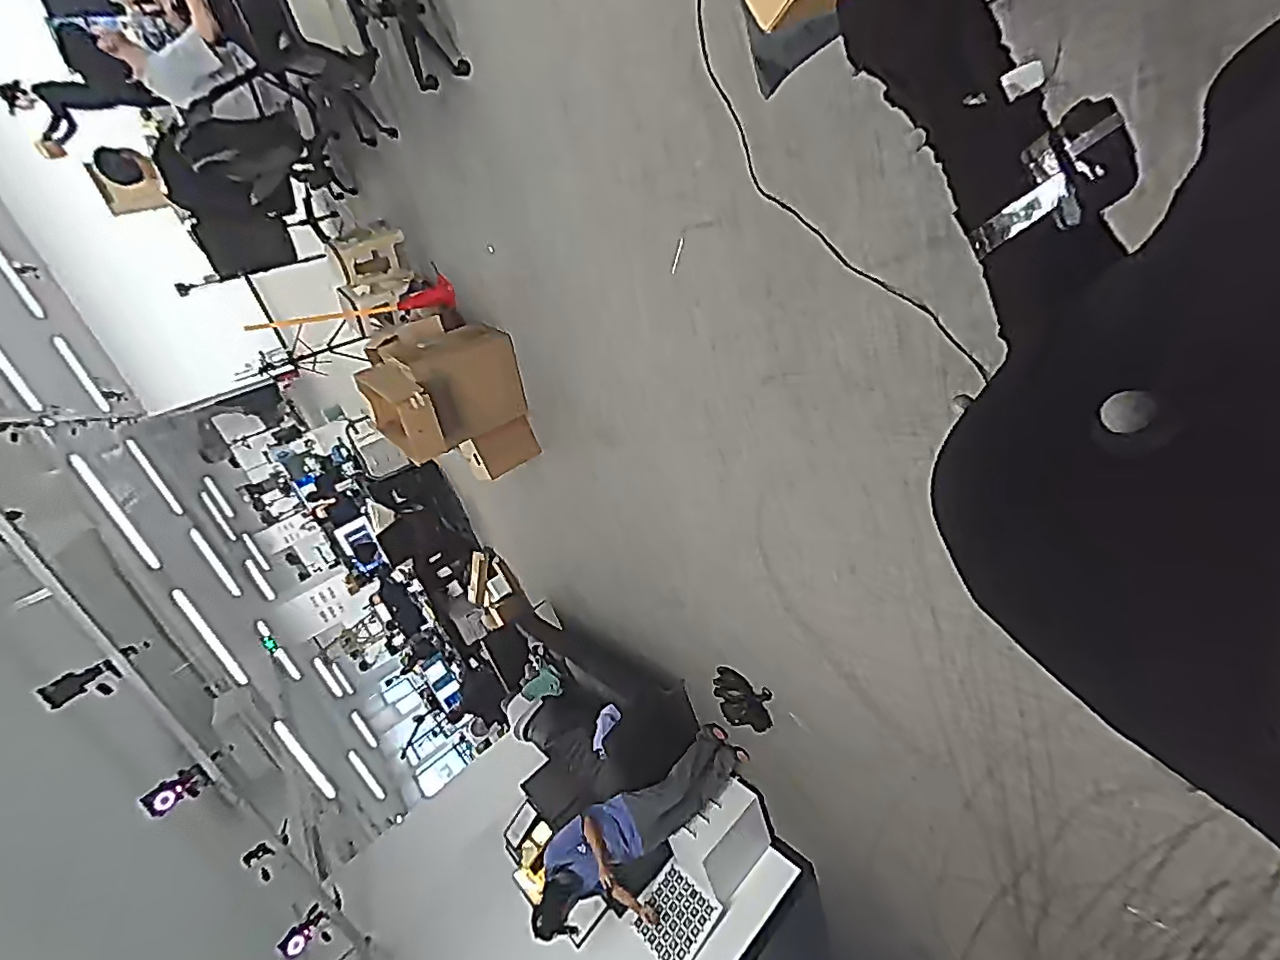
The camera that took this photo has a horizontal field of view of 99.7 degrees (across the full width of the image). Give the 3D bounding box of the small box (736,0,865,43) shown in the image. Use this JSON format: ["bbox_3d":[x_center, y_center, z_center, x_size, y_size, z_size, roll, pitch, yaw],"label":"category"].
[{"bbox_3d":[0.140,-0.458,0.364,0.179,0.176,0.168,57,155,-6],"label":"small box"}]
